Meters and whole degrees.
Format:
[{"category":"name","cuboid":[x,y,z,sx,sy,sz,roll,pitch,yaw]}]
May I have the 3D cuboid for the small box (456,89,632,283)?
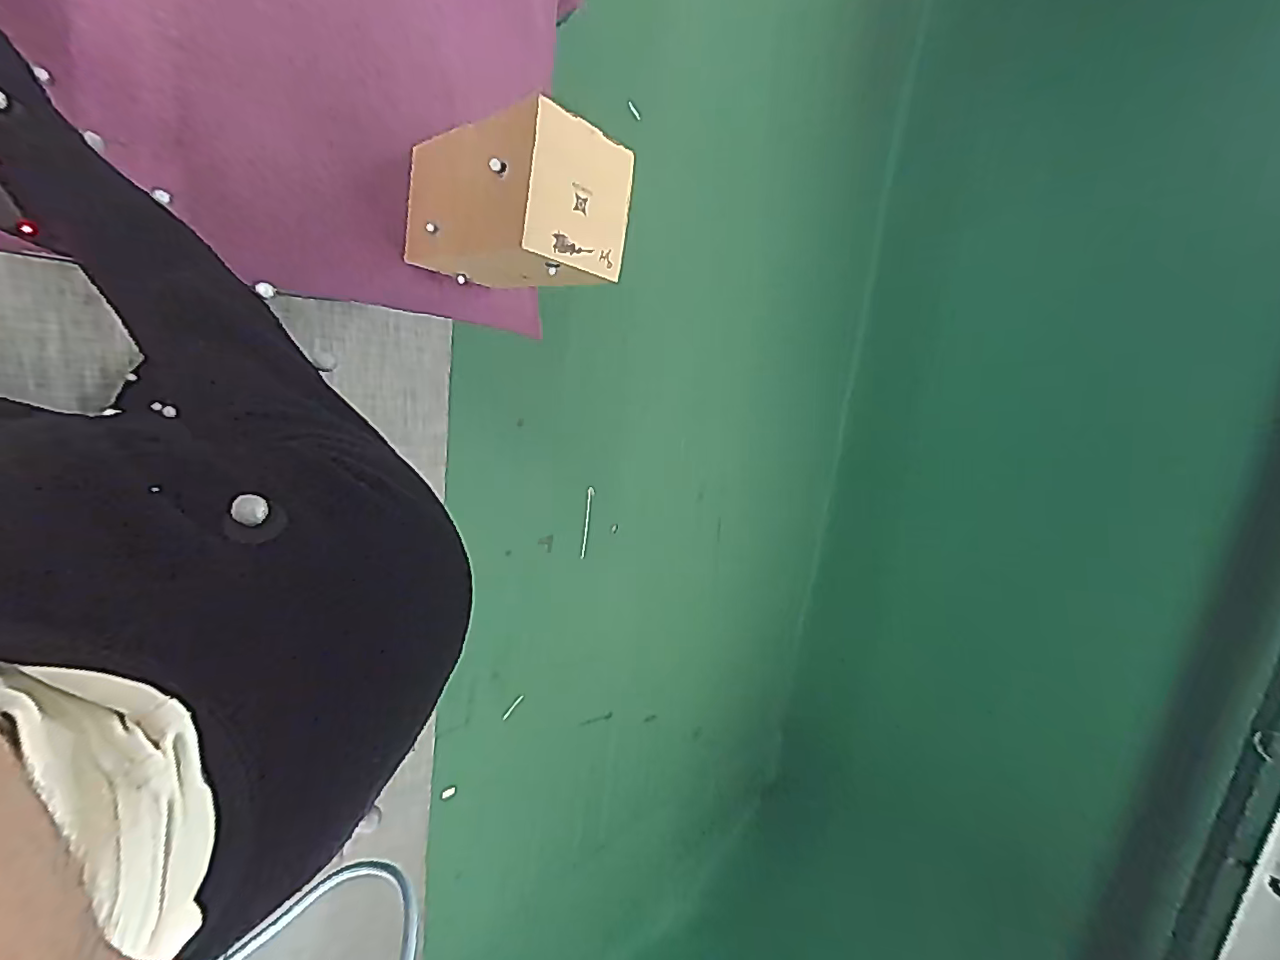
[{"category":"small box","cuboid":[-0.136,-0.384,0.745,0.168,0.176,0.179,0,102,-47]}]
